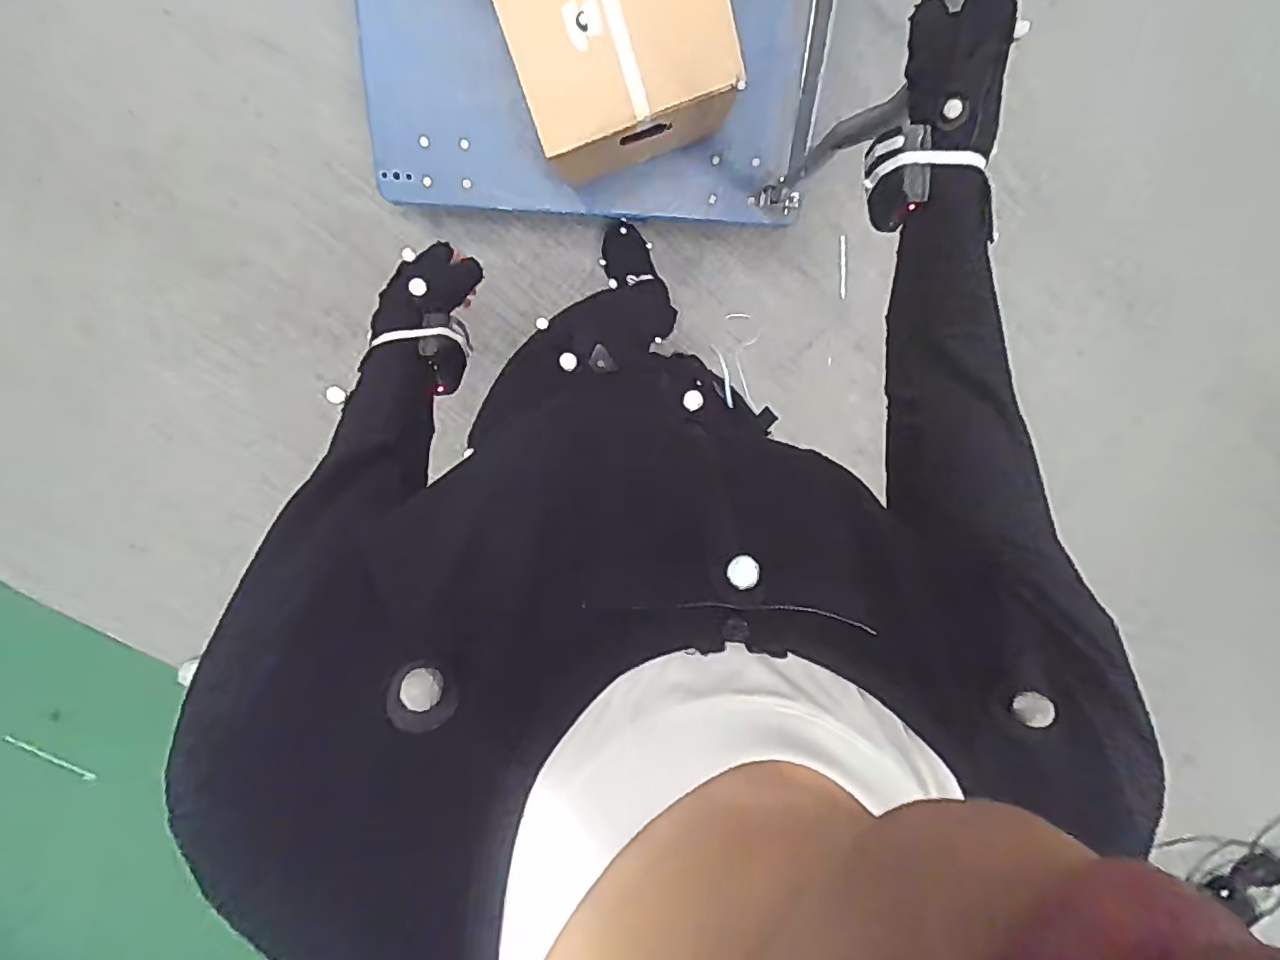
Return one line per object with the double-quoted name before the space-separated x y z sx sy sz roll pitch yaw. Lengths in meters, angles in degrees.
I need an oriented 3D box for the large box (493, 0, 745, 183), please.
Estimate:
"large box" -0.057 -0.766 0.876 0.320 0.320 0.408 -17 110 8
